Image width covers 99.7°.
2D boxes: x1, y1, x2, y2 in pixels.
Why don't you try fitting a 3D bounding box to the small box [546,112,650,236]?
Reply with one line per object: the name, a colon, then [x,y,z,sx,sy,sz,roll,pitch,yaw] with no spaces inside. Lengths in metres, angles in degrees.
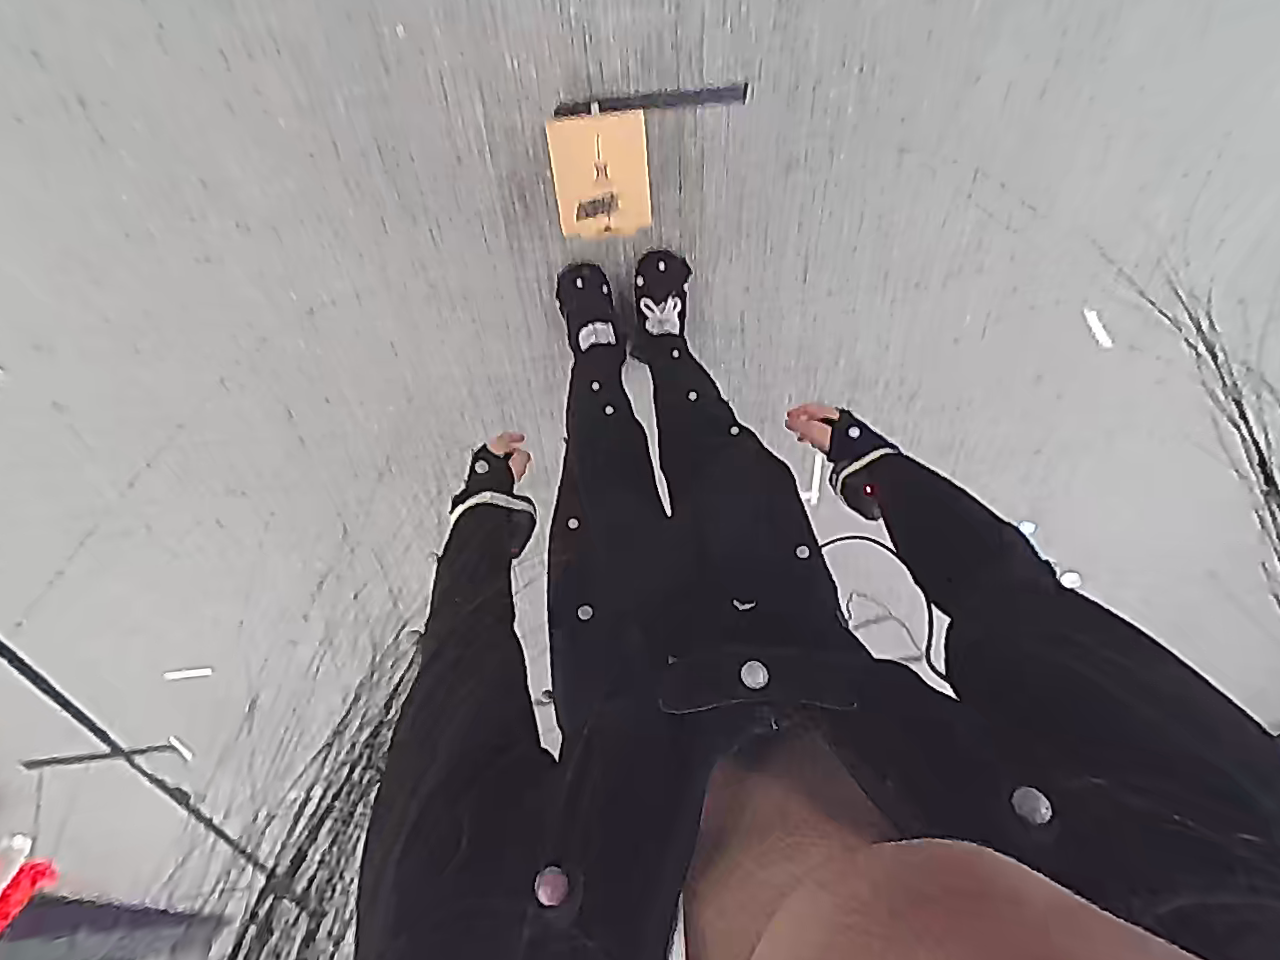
small box: [-0.075,-0.570,1.002,0.168,0.176,0.179,-8,125,-2]
